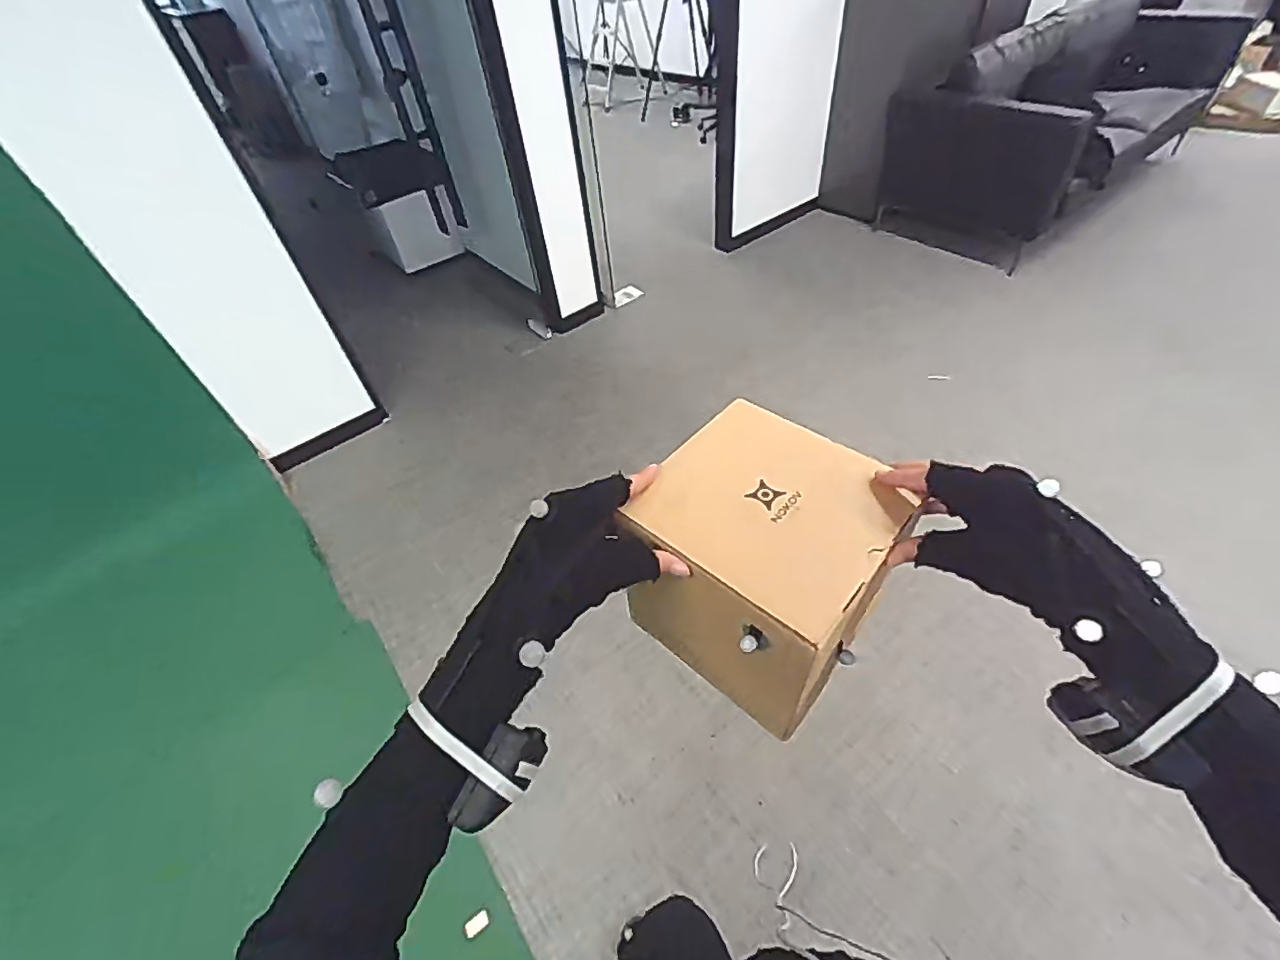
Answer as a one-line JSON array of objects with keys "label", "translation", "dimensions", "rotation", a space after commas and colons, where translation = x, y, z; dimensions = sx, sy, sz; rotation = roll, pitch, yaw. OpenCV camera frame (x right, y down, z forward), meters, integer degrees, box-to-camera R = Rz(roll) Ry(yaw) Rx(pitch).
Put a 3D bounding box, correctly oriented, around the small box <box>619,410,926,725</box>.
[{"label": "small box", "translation": [0.103, 0.074, 0.469], "dimensions": [0.179, 0.176, 0.168], "rotation": [32, 57, 30]}]
